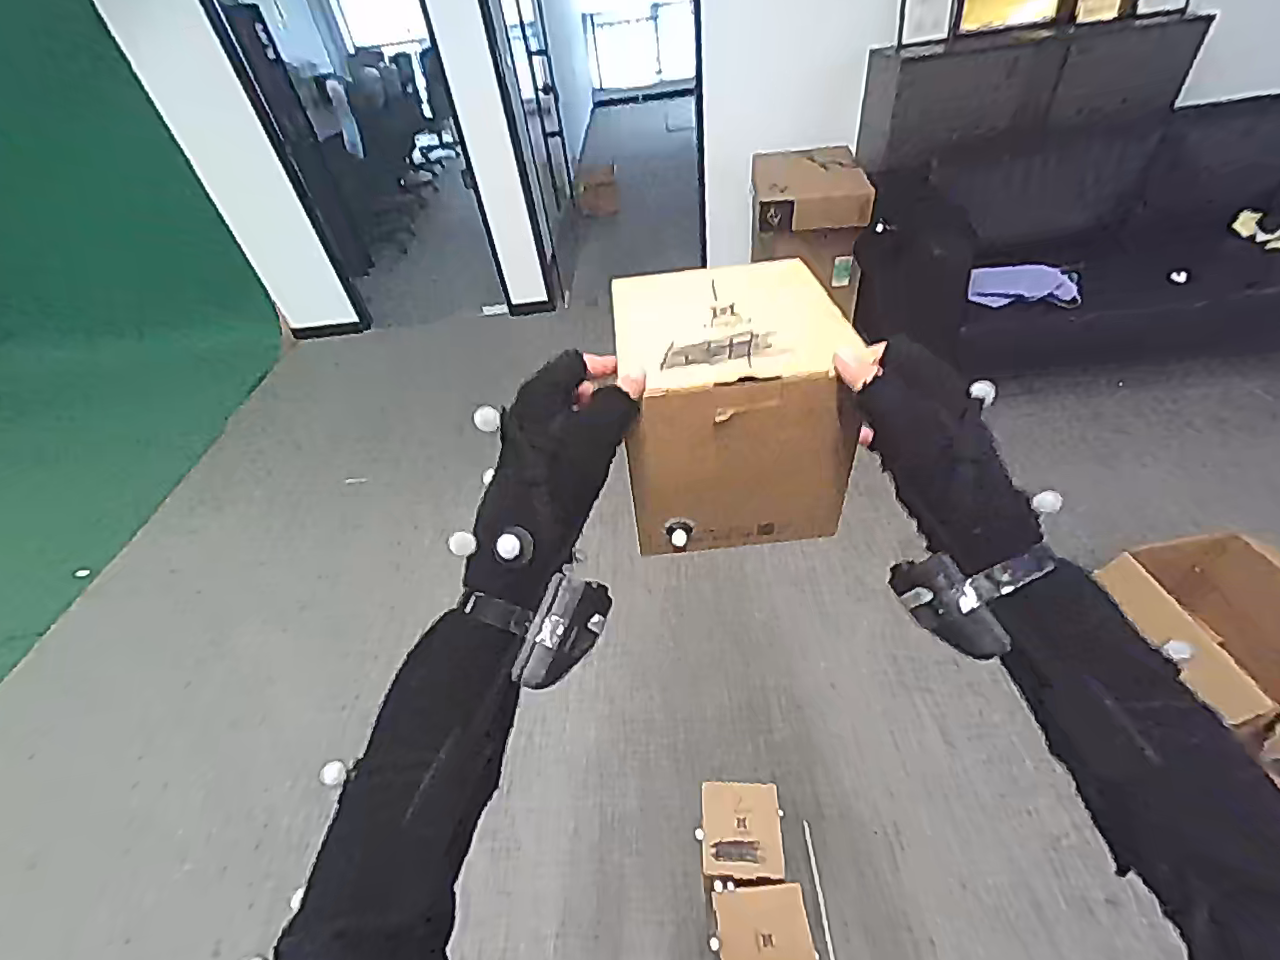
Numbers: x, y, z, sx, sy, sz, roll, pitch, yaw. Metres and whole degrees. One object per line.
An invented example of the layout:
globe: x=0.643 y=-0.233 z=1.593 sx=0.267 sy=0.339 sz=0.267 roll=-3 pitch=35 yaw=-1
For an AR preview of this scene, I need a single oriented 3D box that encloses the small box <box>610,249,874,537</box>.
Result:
small box: x=0.069 y=-0.067 z=0.448 sx=0.168 sy=0.176 sz=0.179 roll=-6 pitch=43 yaw=1
